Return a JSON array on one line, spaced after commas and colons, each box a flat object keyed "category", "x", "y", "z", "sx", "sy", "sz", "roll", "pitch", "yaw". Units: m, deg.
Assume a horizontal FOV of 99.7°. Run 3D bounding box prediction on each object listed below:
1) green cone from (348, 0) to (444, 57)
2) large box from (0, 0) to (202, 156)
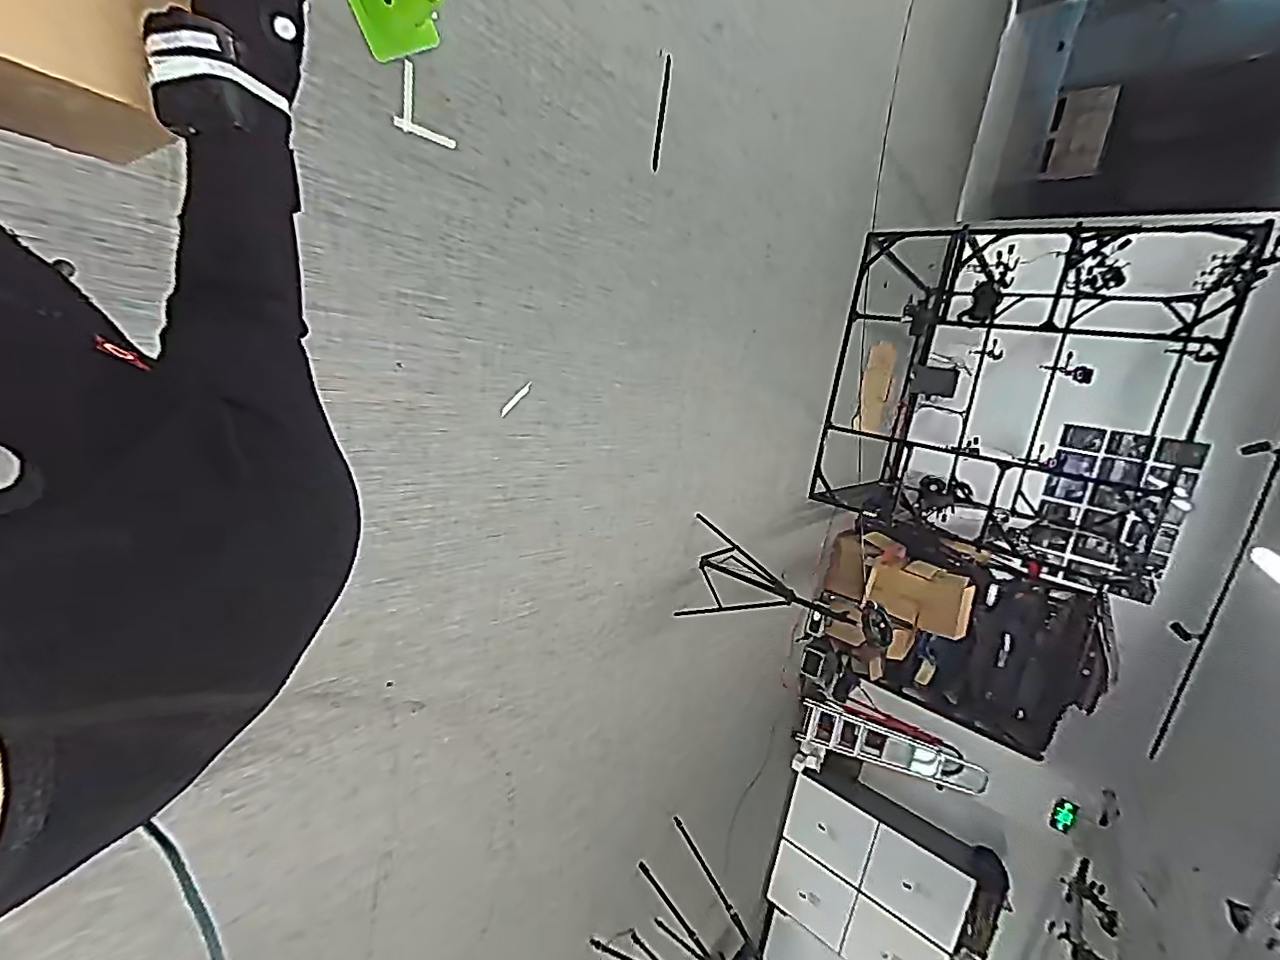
[{"category": "green cone", "x": -0.465, "y": -1.096, "z": 1.178, "sx": 0.202, "sy": 0.368, "sz": 0.200, "roll": -49, "pitch": 139, "yaw": -30}, {"category": "large box", "x": -0.546, "y": -0.445, "z": 0.312, "sx": 0.408, "sy": 0.320, "sz": 0.320, "roll": -3, "pitch": 108, "yaw": -52}]
